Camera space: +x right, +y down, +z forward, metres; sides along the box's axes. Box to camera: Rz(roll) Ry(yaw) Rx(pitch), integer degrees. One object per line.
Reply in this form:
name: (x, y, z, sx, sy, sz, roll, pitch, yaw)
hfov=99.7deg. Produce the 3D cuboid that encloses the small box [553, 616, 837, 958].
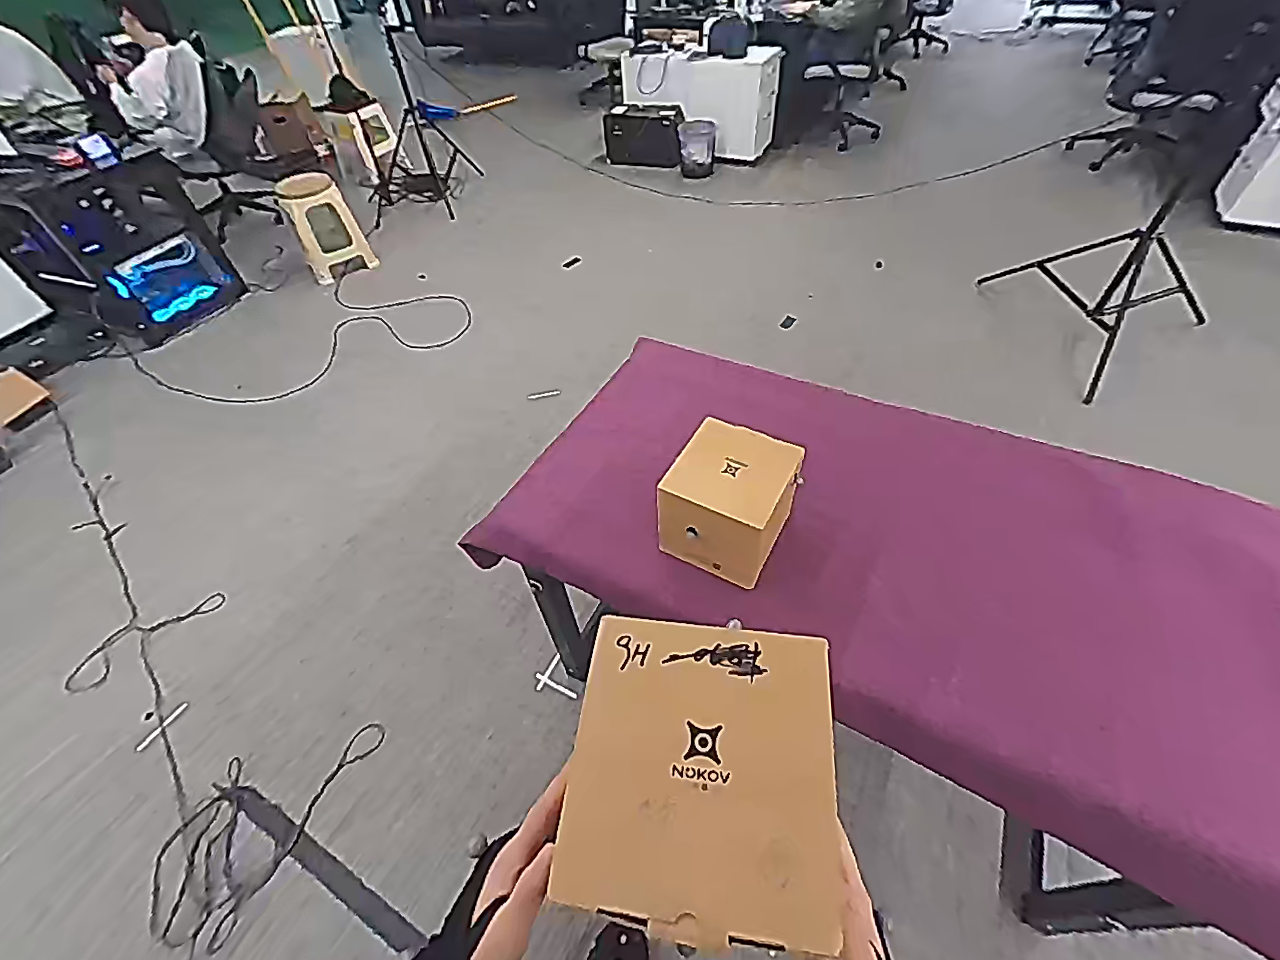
small box: (0.048, 0.226, 0.415, 0.168, 0.176, 0.179, 4, 55, 9)

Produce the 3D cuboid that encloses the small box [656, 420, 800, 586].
small box: (0.140, 0.039, 0.868, 0.168, 0.176, 0.179, 22, 53, 21)
